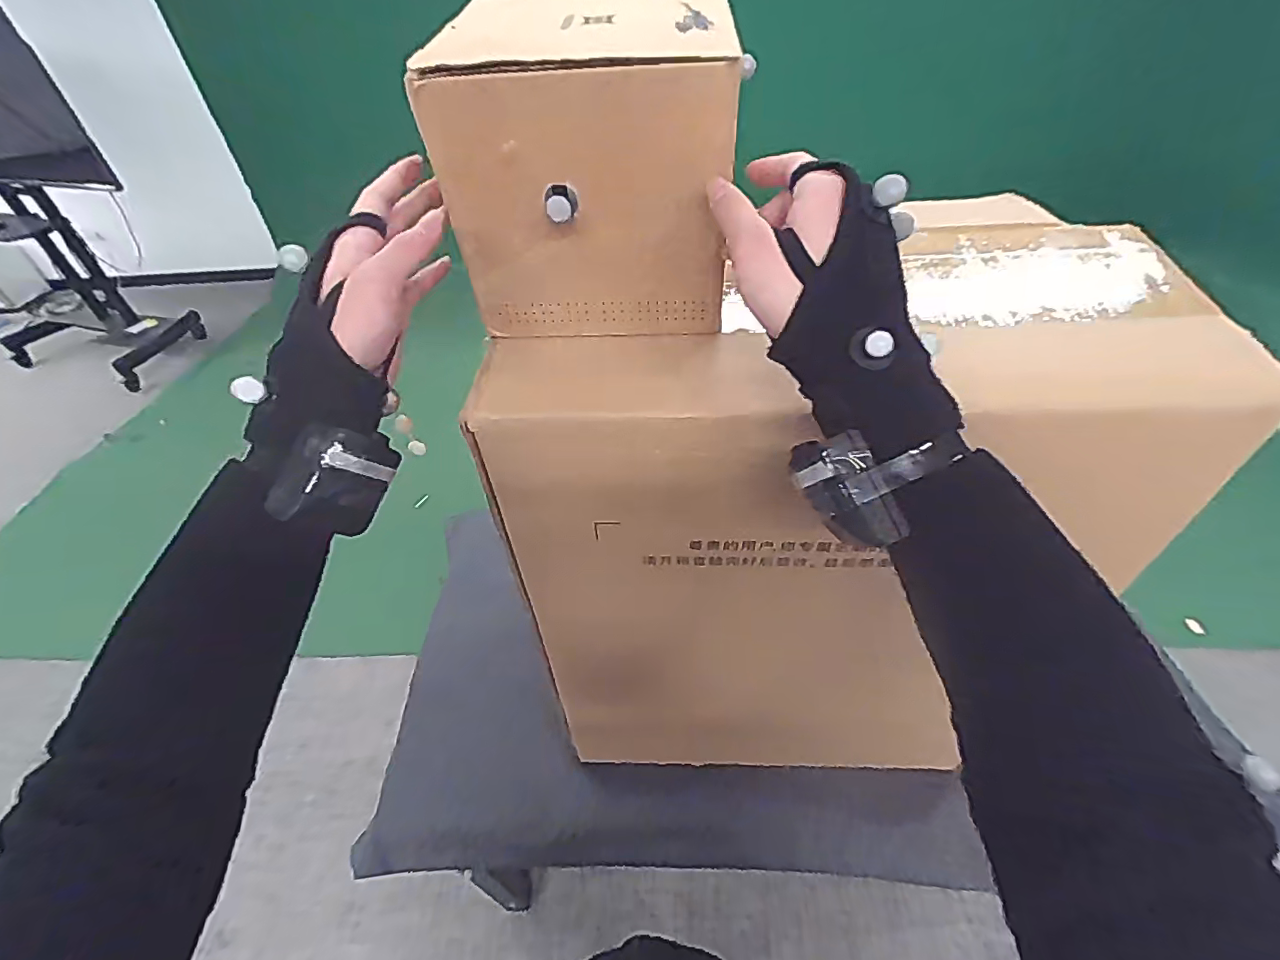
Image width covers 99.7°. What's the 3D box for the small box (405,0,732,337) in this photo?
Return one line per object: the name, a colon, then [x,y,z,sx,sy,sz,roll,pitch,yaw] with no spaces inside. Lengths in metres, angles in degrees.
small box: [-0.030,-0.218,0.389,0.179,0.176,0.168,0,52,4]
